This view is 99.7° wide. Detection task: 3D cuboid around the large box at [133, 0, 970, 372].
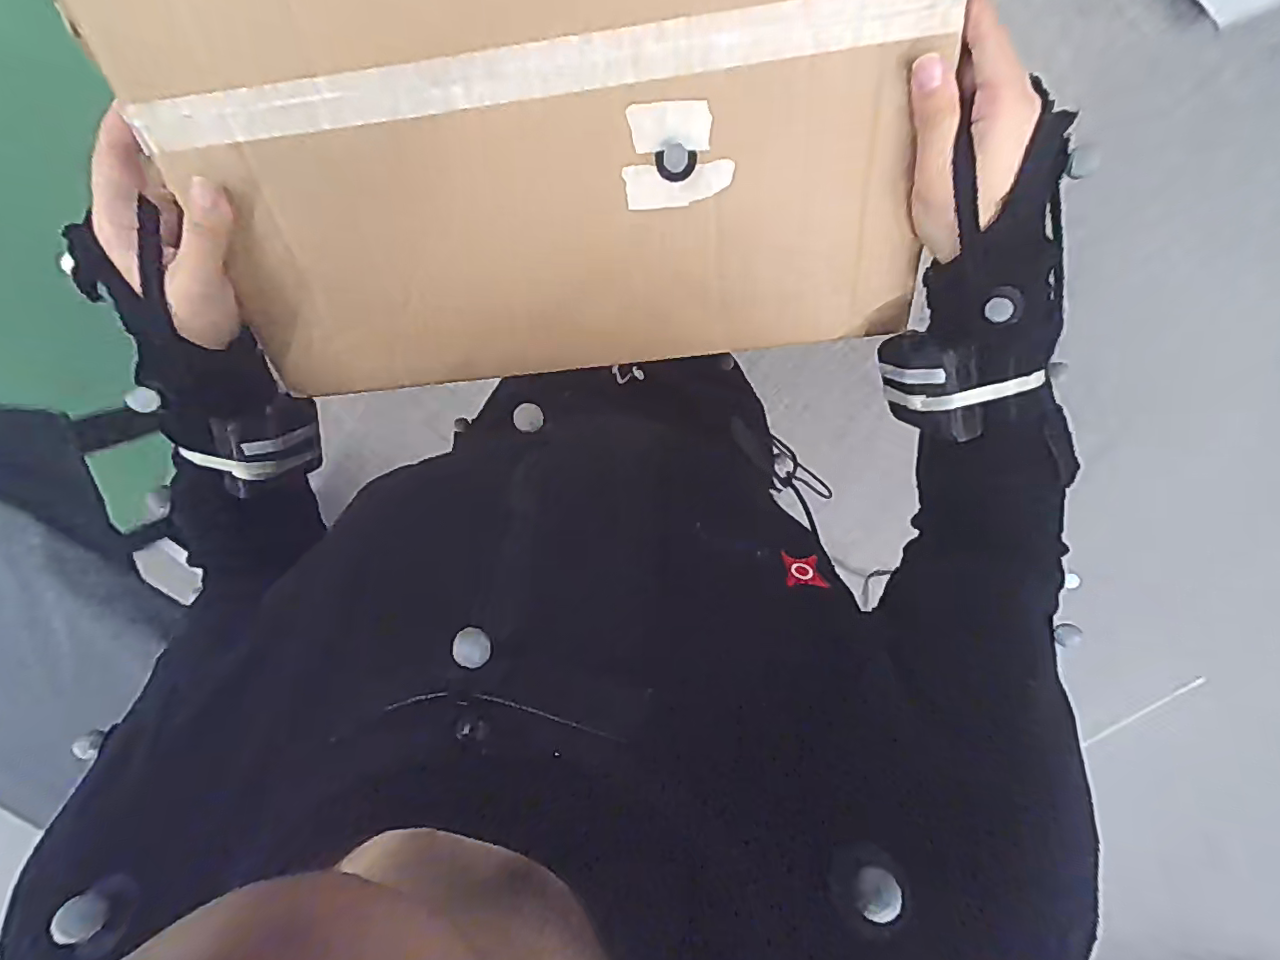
[{"bbox_3d":[-0.042,-0.303,0.386,0.408,0.320,0.320,-6,128,3],"label":"large box"}]
